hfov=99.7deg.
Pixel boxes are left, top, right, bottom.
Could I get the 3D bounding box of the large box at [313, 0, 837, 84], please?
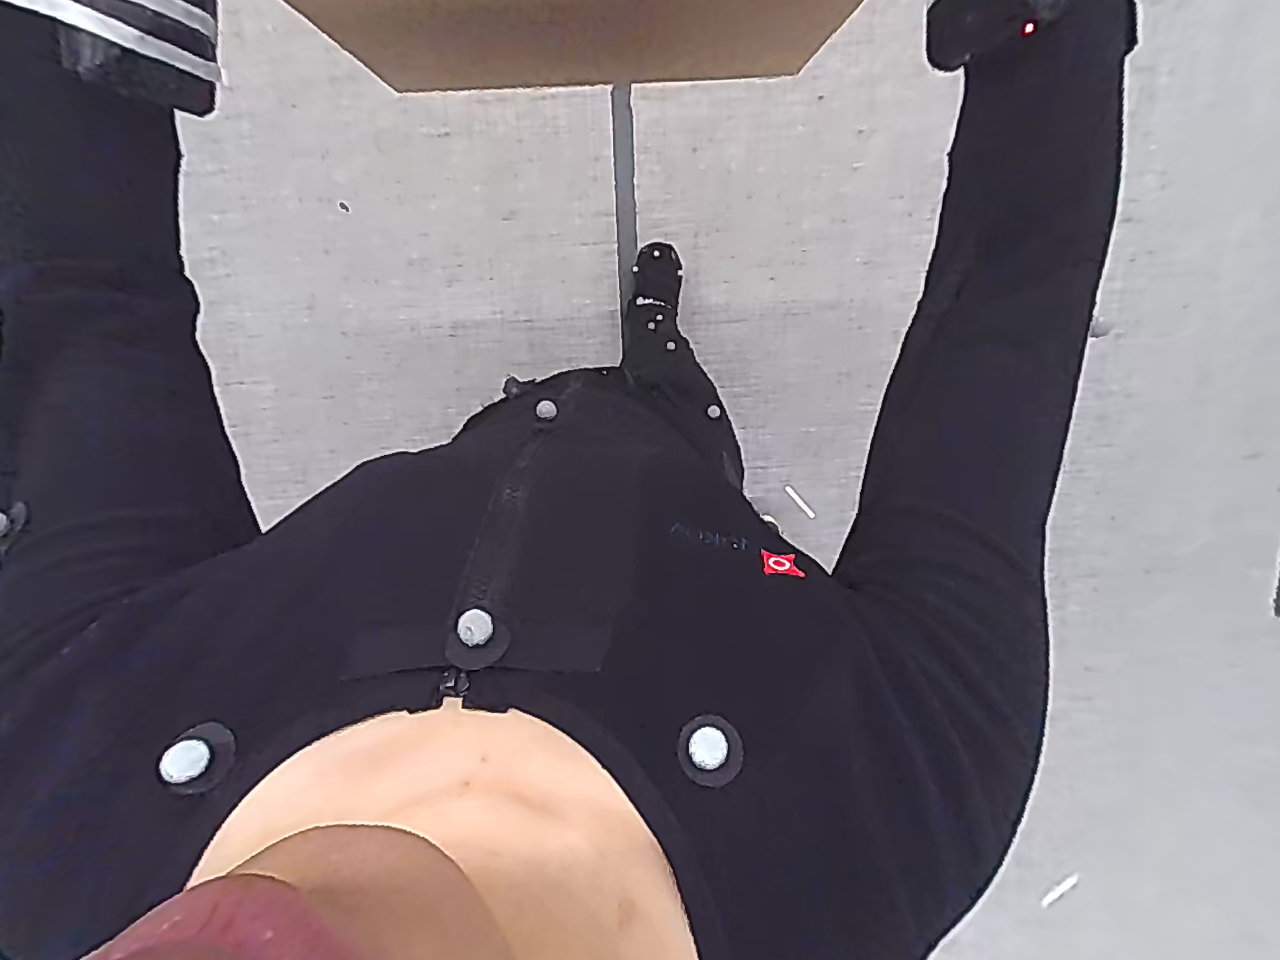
[{"bbox_3d":[-0.046,-0.495,0.346,0.408,0.320,0.320,-4,112,-1],"label":"large box"}]
